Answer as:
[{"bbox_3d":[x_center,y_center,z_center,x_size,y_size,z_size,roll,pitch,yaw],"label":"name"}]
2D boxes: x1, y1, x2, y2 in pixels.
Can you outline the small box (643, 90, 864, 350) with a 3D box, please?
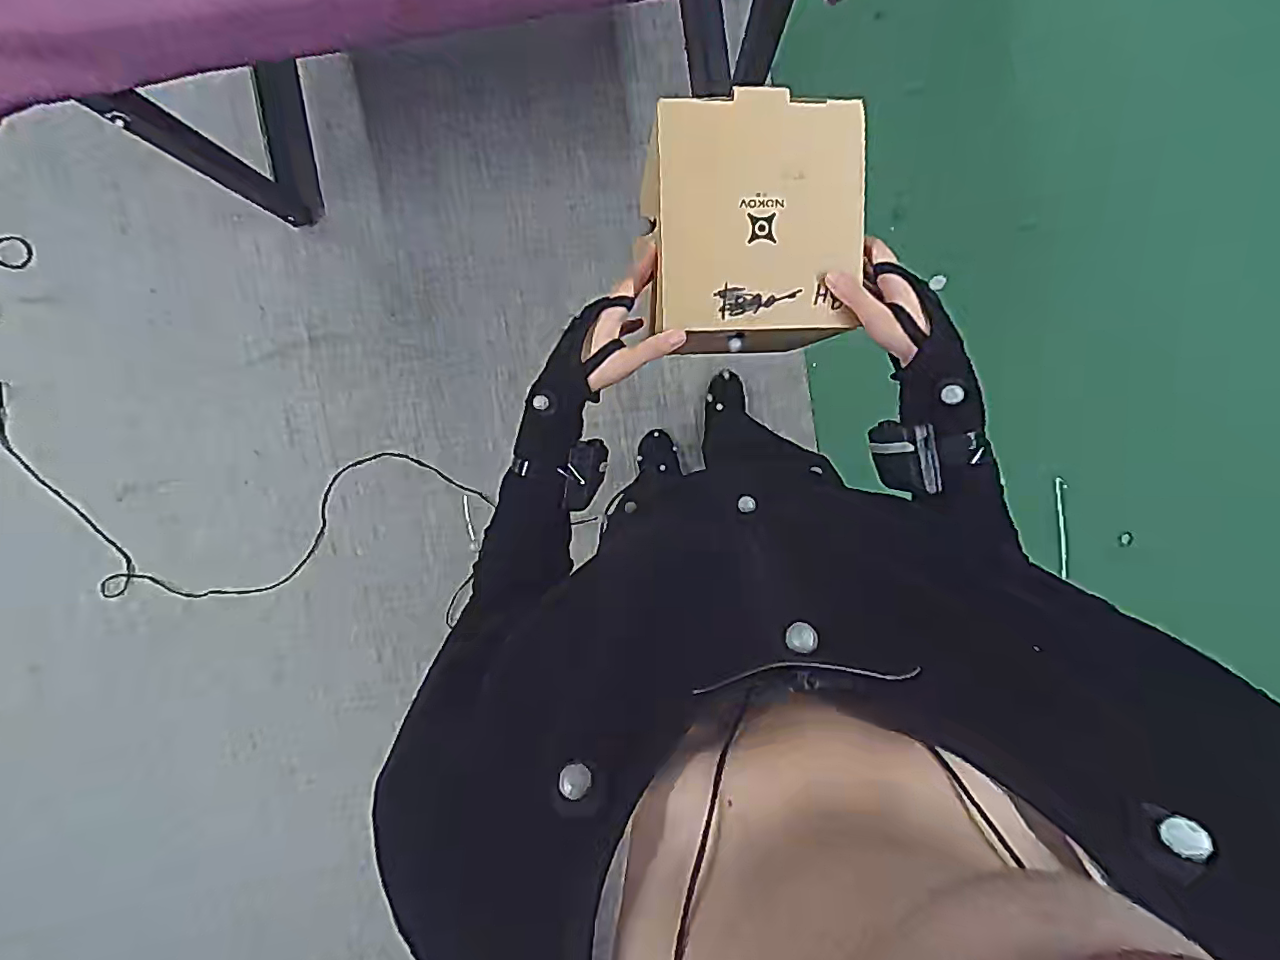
[{"bbox_3d":[0.091,-0.223,0.507,0.168,0.176,0.179,-2,96,-3],"label":"small box"}]
